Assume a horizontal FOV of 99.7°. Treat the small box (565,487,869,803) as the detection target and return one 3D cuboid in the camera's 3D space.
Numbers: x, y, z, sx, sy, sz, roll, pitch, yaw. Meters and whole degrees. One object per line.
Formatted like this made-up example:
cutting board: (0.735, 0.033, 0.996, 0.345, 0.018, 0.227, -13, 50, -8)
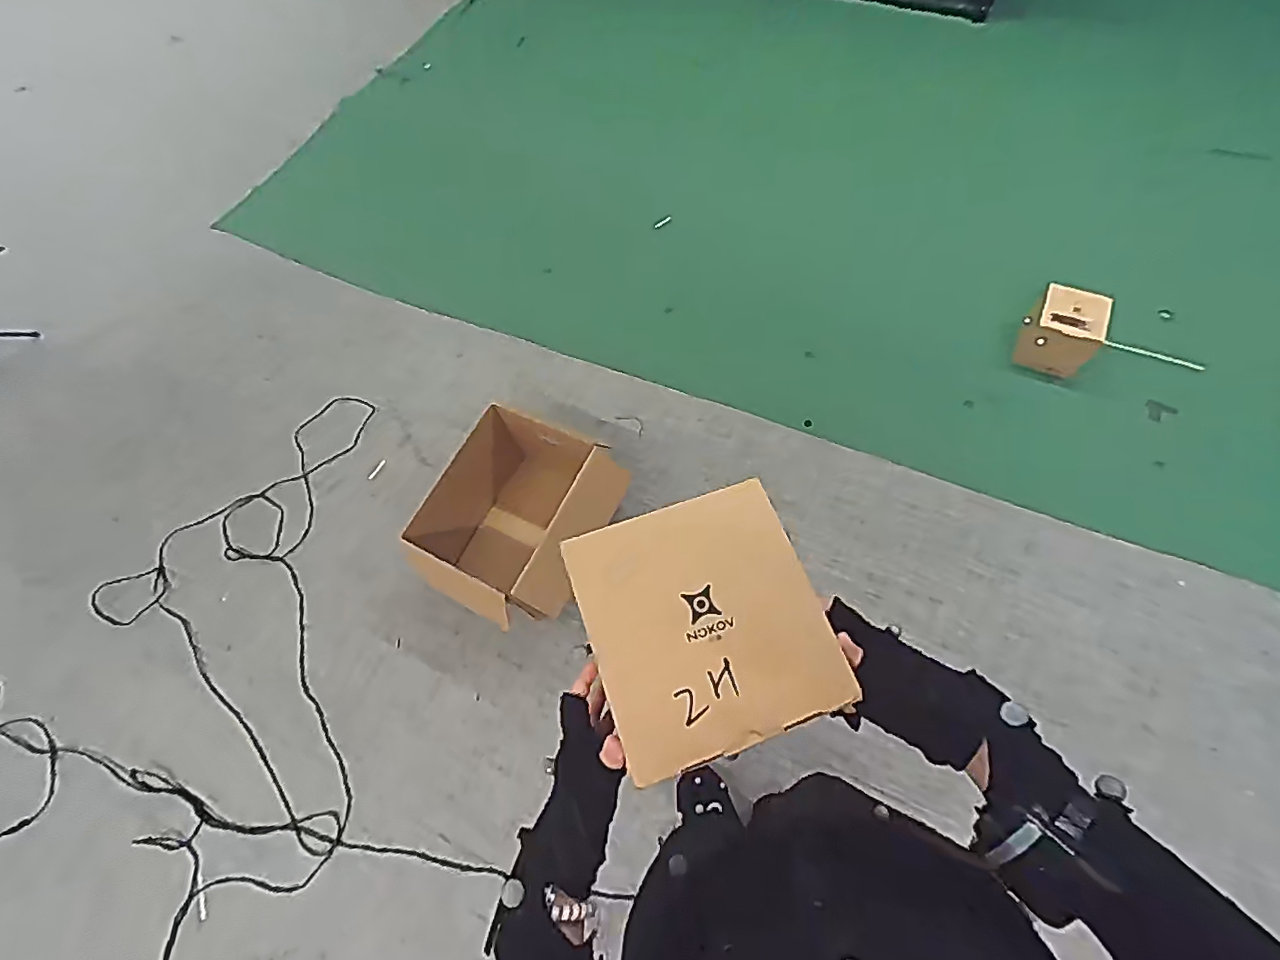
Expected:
small box: (0.045, 0.133, 0.445, 0.168, 0.176, 0.179, -18, 68, -8)
